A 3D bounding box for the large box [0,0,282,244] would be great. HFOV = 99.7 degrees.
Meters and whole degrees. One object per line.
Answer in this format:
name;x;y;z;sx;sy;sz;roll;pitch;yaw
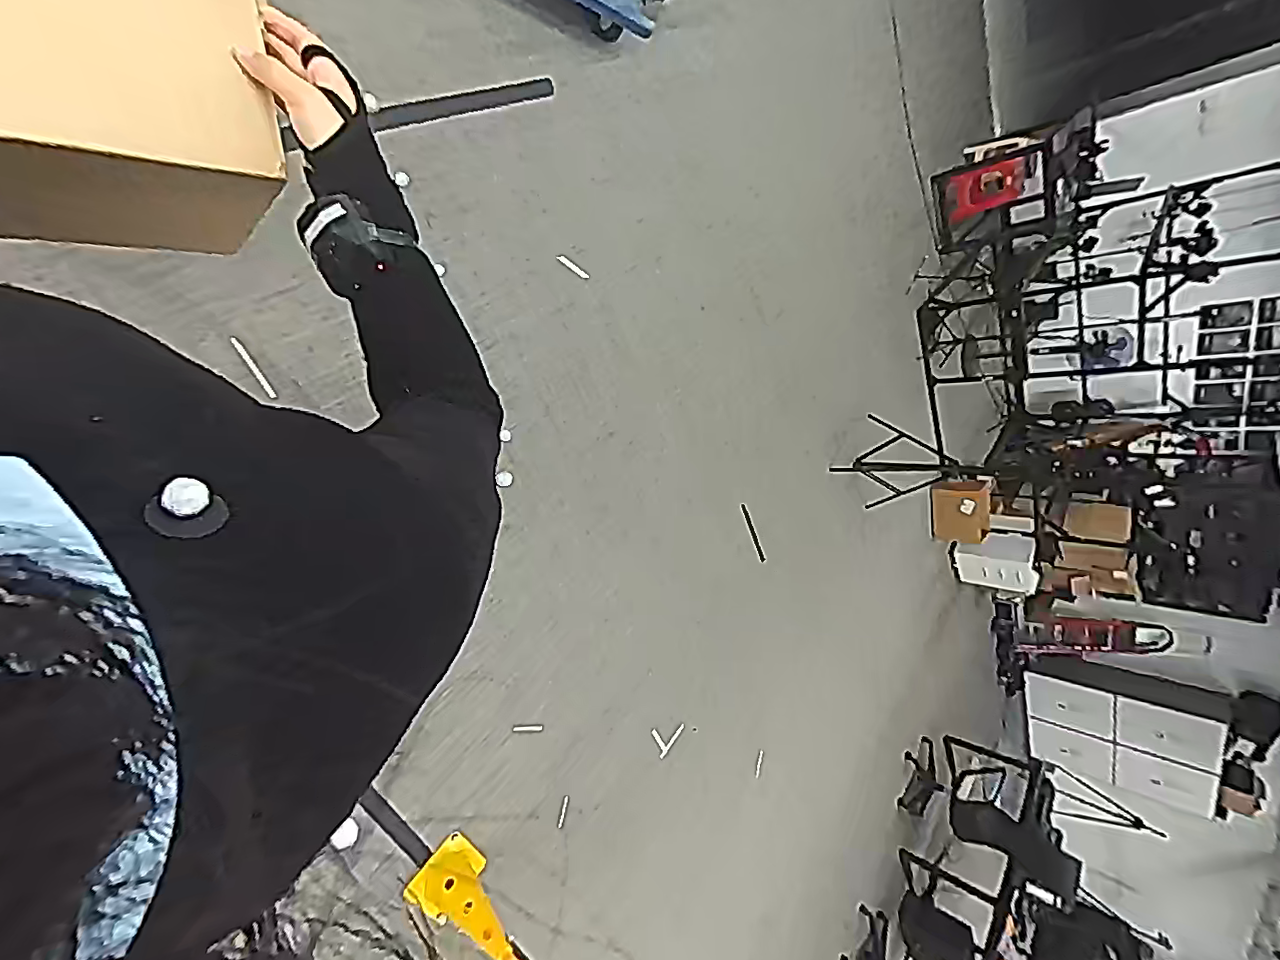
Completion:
large box;-0.556;-0.381;0.404;0.408;0.320;0.320;-14;105;-41
